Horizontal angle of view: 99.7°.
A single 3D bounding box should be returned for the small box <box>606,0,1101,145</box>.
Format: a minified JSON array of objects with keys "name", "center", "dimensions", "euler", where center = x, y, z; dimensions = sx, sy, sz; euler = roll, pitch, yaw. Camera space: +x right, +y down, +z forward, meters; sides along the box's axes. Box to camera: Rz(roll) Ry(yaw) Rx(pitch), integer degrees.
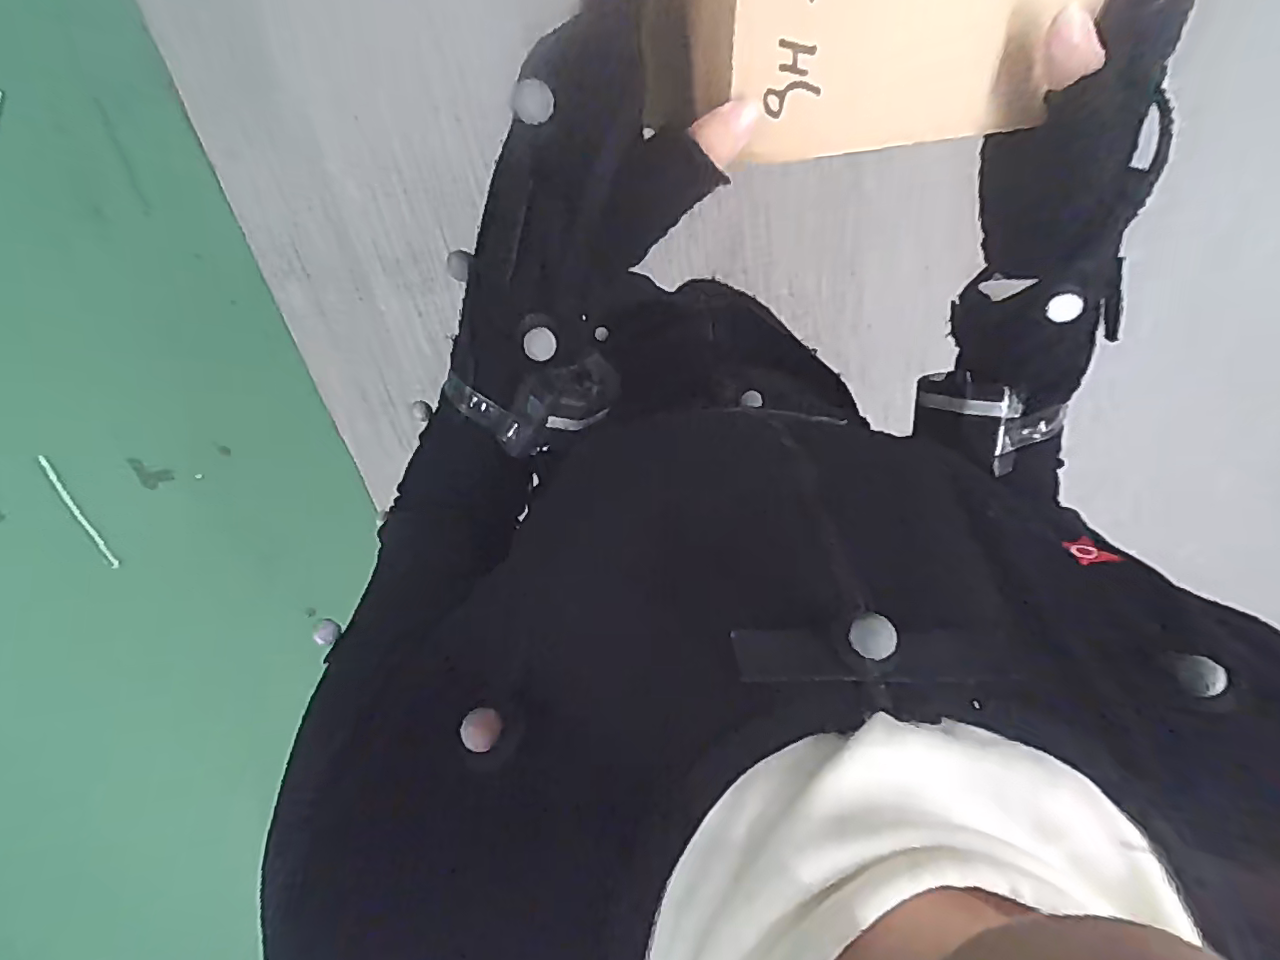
[{"name":"small box","center":[0.089,-0.265,0.242],"dimensions":[0.179,0.176,0.168],"euler":[-14,132,-13]}]
